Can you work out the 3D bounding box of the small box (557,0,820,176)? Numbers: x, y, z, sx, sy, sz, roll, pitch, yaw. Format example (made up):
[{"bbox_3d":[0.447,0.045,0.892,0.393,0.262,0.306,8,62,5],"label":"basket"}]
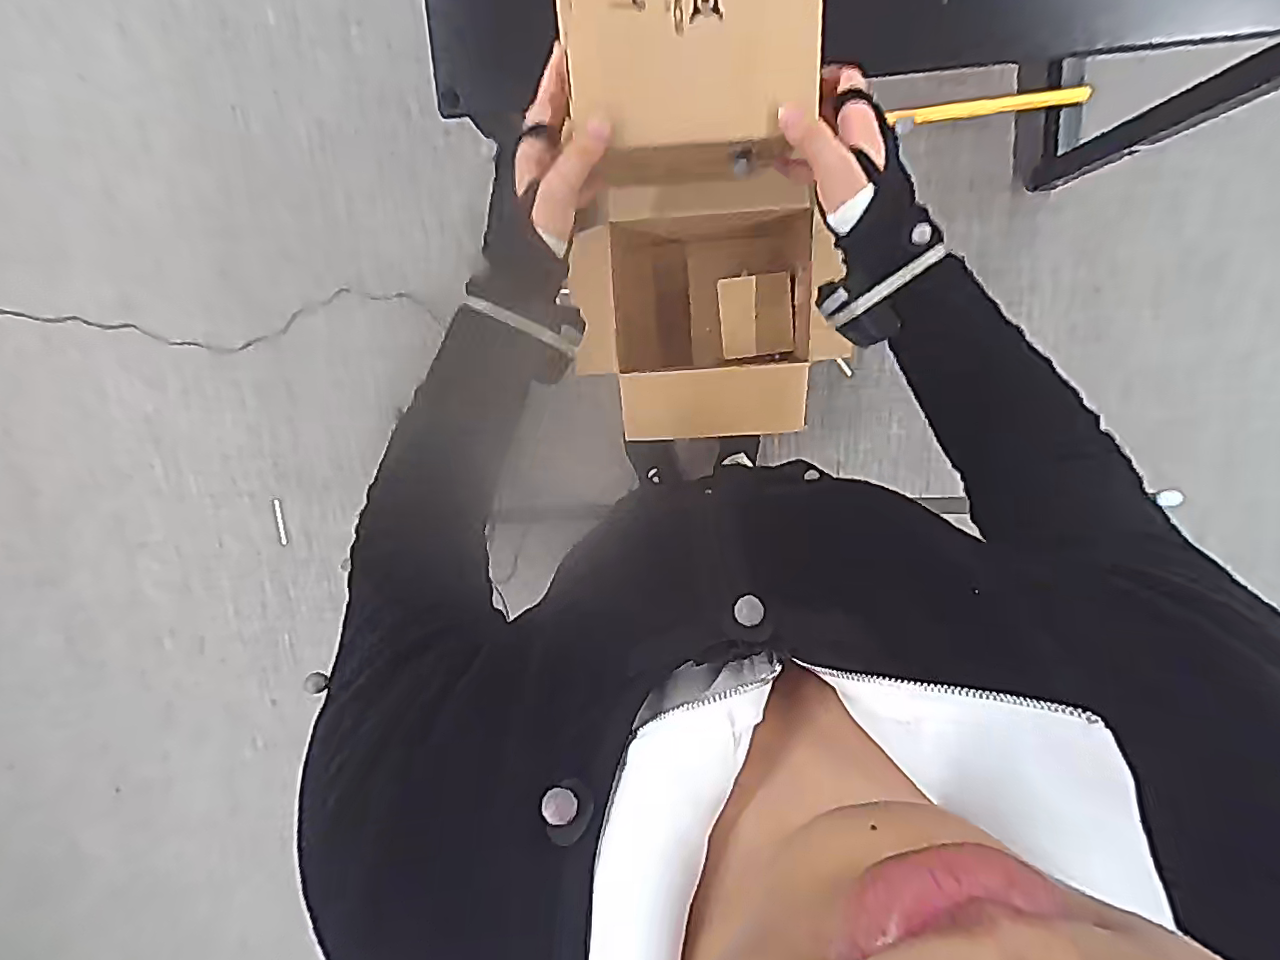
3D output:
[{"bbox_3d":[0.026,-0.350,0.426,0.179,0.176,0.168,-6,110,-3],"label":"small box"}]
